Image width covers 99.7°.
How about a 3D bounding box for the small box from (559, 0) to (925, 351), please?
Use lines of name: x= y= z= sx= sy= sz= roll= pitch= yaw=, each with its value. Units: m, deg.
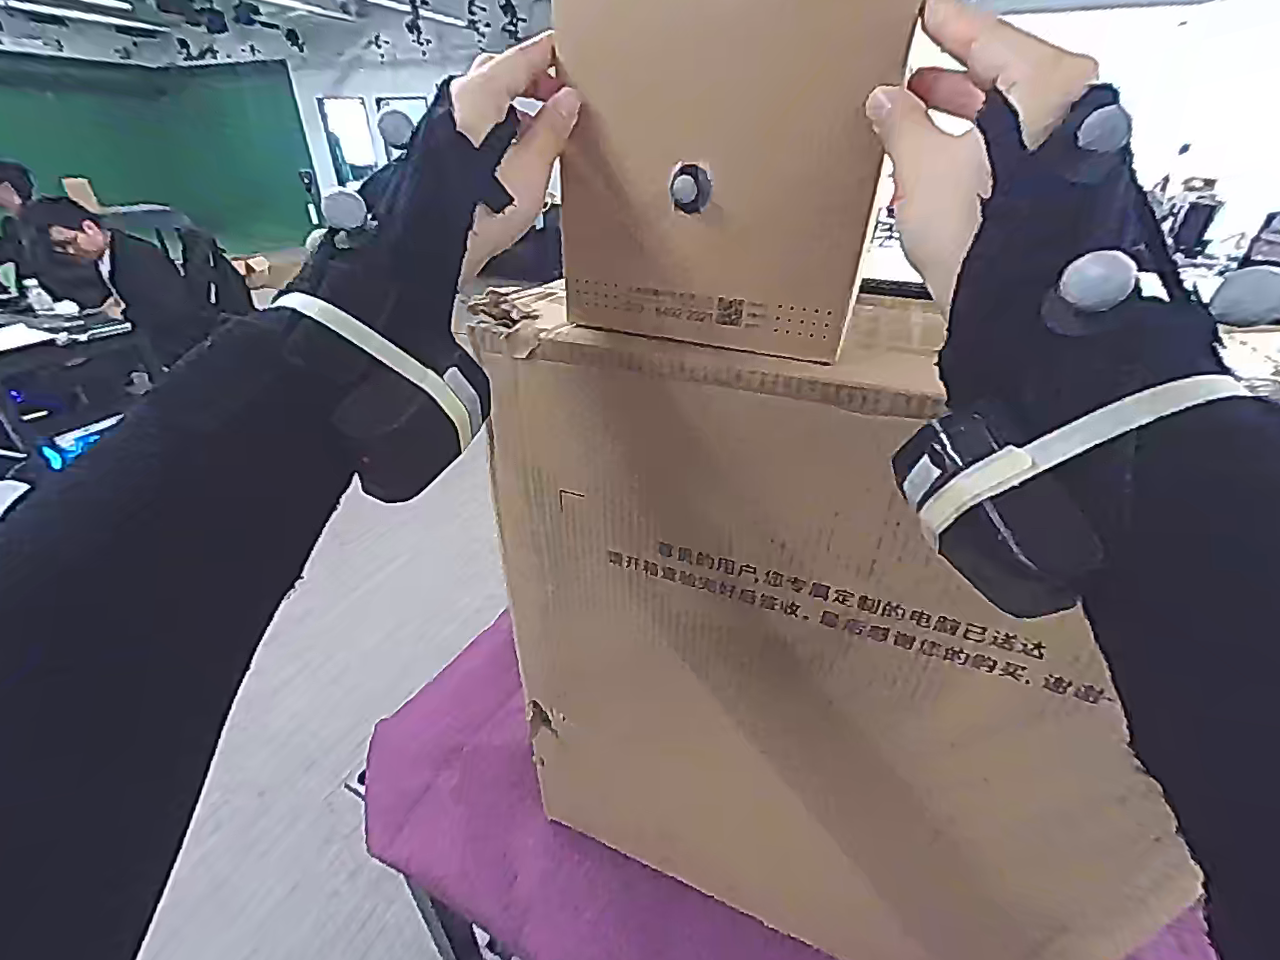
small box: x=0.067 y=-0.192 z=0.340 sx=0.168 sy=0.176 sz=0.179 roll=14 pitch=34 yaw=18
